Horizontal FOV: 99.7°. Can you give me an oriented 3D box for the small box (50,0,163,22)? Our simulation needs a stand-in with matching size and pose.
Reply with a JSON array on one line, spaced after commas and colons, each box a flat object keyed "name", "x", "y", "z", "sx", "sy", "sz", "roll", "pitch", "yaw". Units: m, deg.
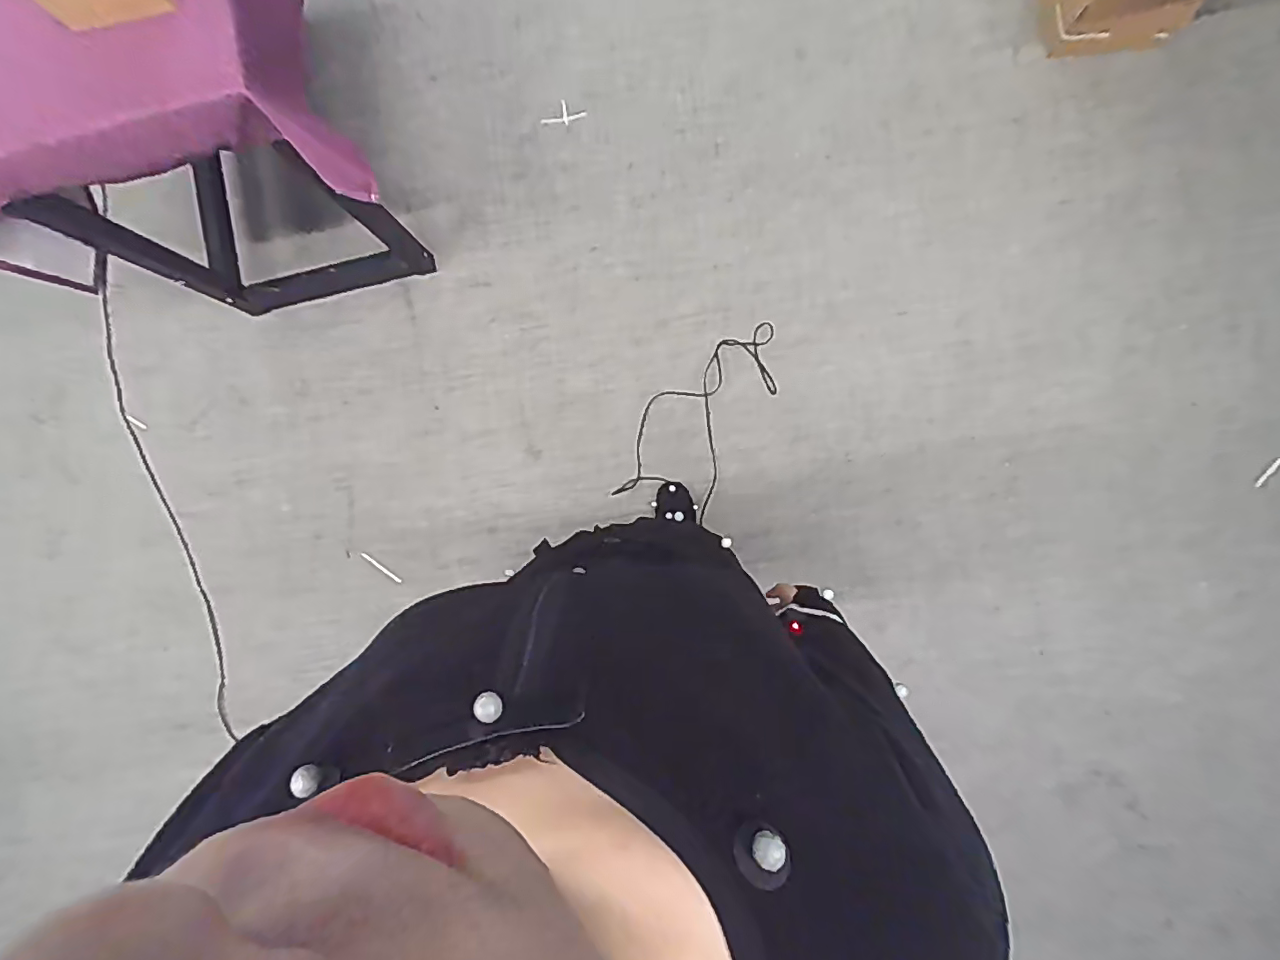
[{"name": "small box", "x": -0.824, "y": -0.817, "z": 0.776, "sx": 0.179, "sy": 0.176, "sz": 0.168, "roll": -9, "pitch": 87, "yaw": 4}]
